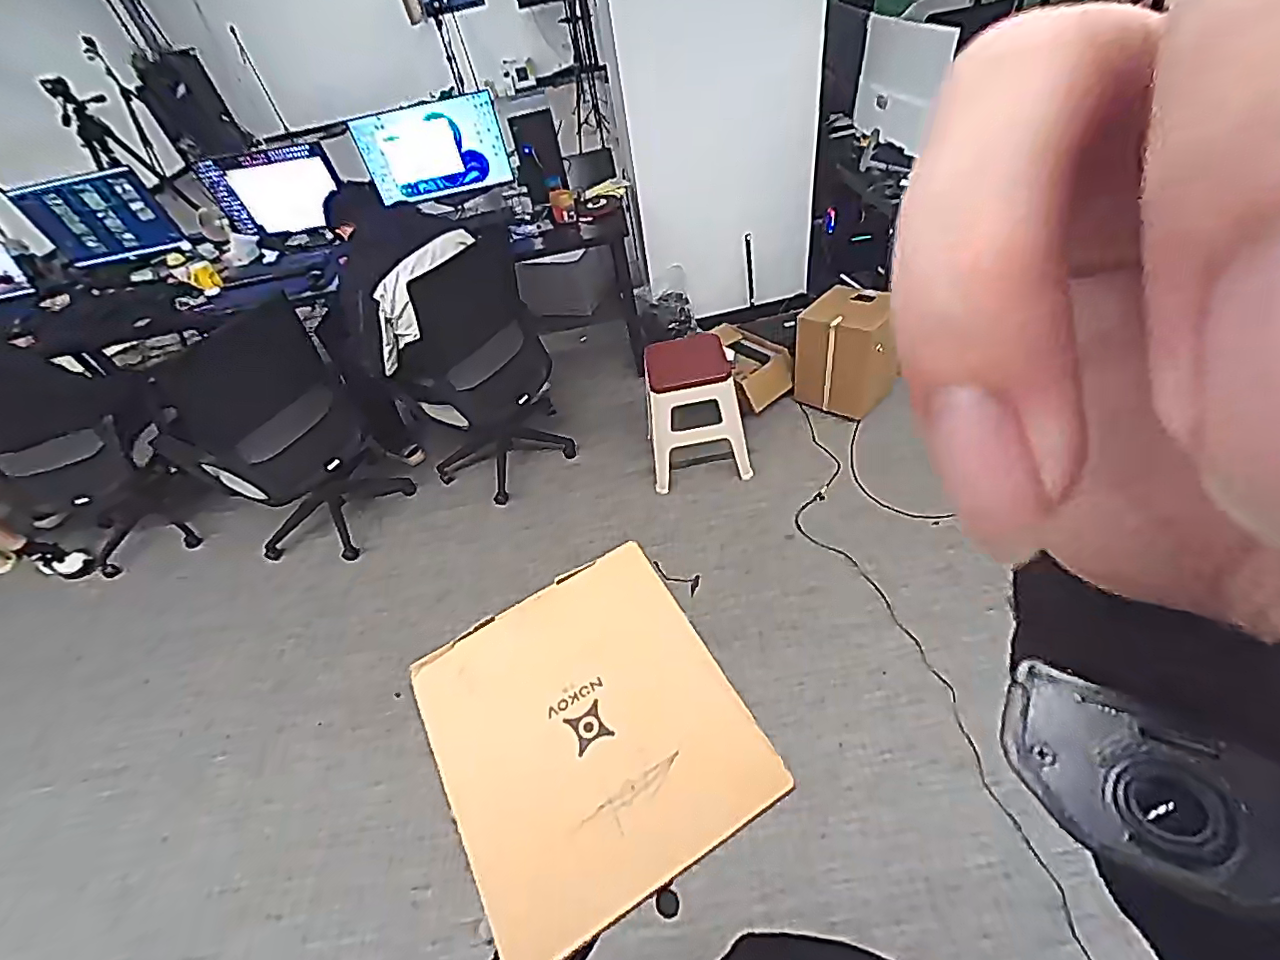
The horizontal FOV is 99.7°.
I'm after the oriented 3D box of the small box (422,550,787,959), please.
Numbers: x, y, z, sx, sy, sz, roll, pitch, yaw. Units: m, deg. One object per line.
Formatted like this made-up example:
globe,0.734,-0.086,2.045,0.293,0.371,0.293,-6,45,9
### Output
small box,-0.024,0.188,0.386,0.168,0.176,0.179,-28,58,-12
